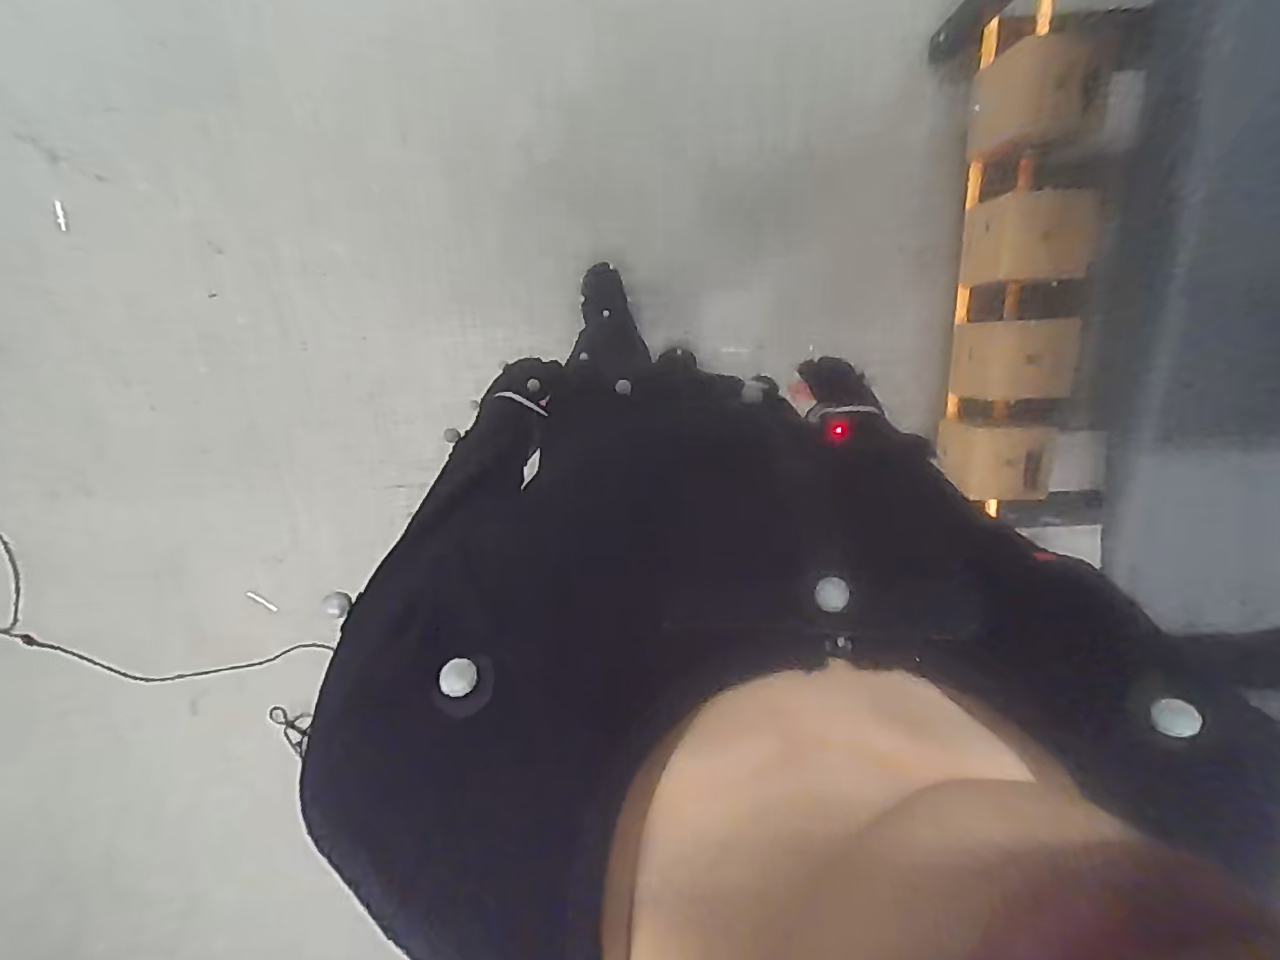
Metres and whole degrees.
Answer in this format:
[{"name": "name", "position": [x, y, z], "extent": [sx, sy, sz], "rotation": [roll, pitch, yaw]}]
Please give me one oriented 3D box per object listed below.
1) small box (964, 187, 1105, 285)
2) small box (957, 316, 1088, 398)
[{"name": "small box", "position": [0.829, -0.513, 1.157], "extent": [0.179, 0.176, 0.168], "rotation": [-1, 105, 2]}, {"name": "small box", "position": [0.844, -0.274, 1.213], "extent": [0.179, 0.176, 0.168], "rotation": [-2, 104, 2]}]
